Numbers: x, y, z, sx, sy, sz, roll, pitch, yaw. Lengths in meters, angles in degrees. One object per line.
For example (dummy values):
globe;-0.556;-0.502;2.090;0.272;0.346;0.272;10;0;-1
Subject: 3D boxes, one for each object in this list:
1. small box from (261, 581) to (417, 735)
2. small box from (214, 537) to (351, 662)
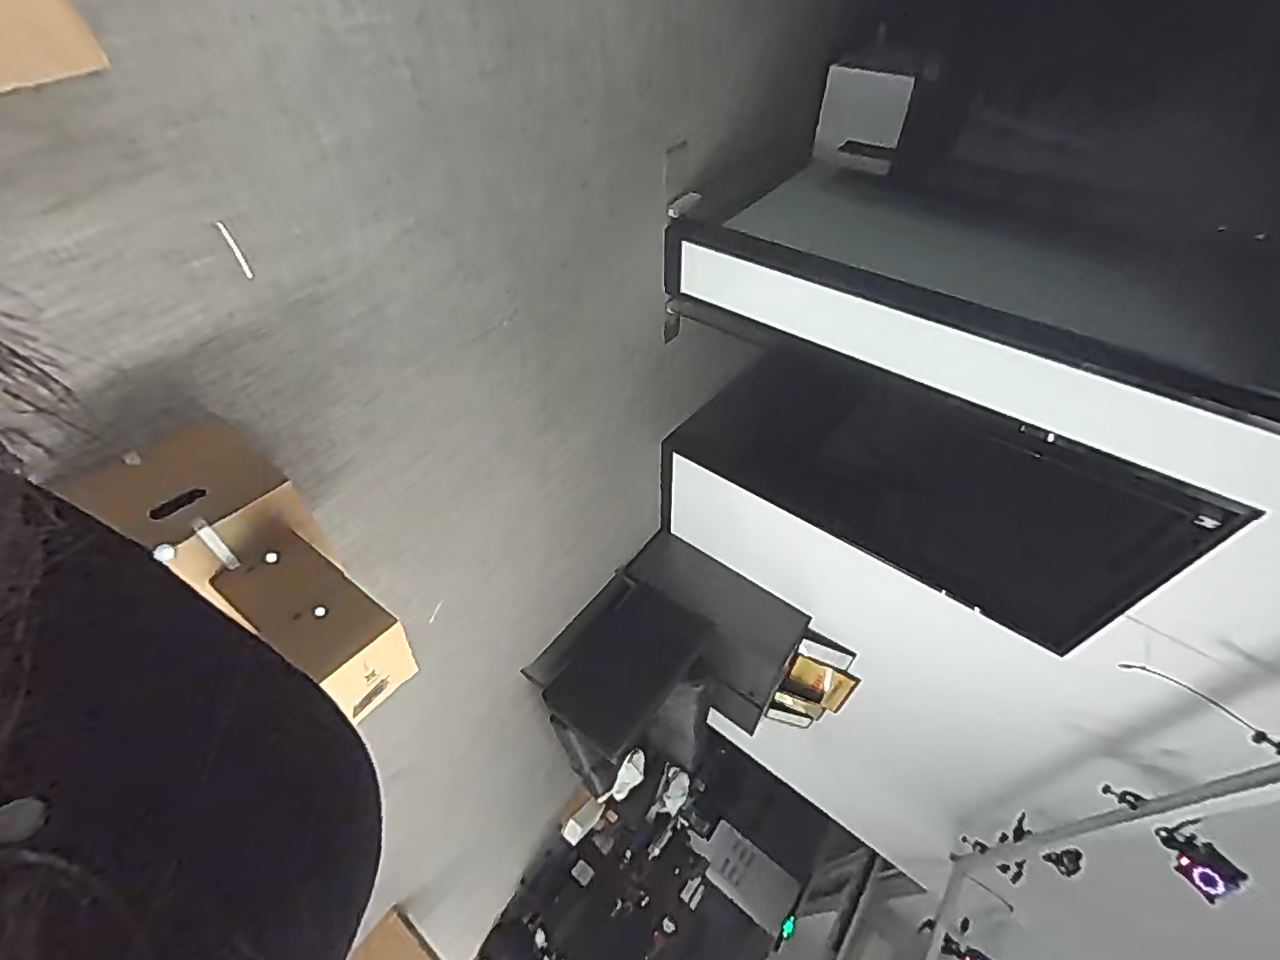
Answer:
small box;-0.548;0.321;0.998;0.168;0.176;0.179;-42;149;-40
small box;-0.679;0.246;1.063;0.168;0.176;0.179;-43;150;-39
